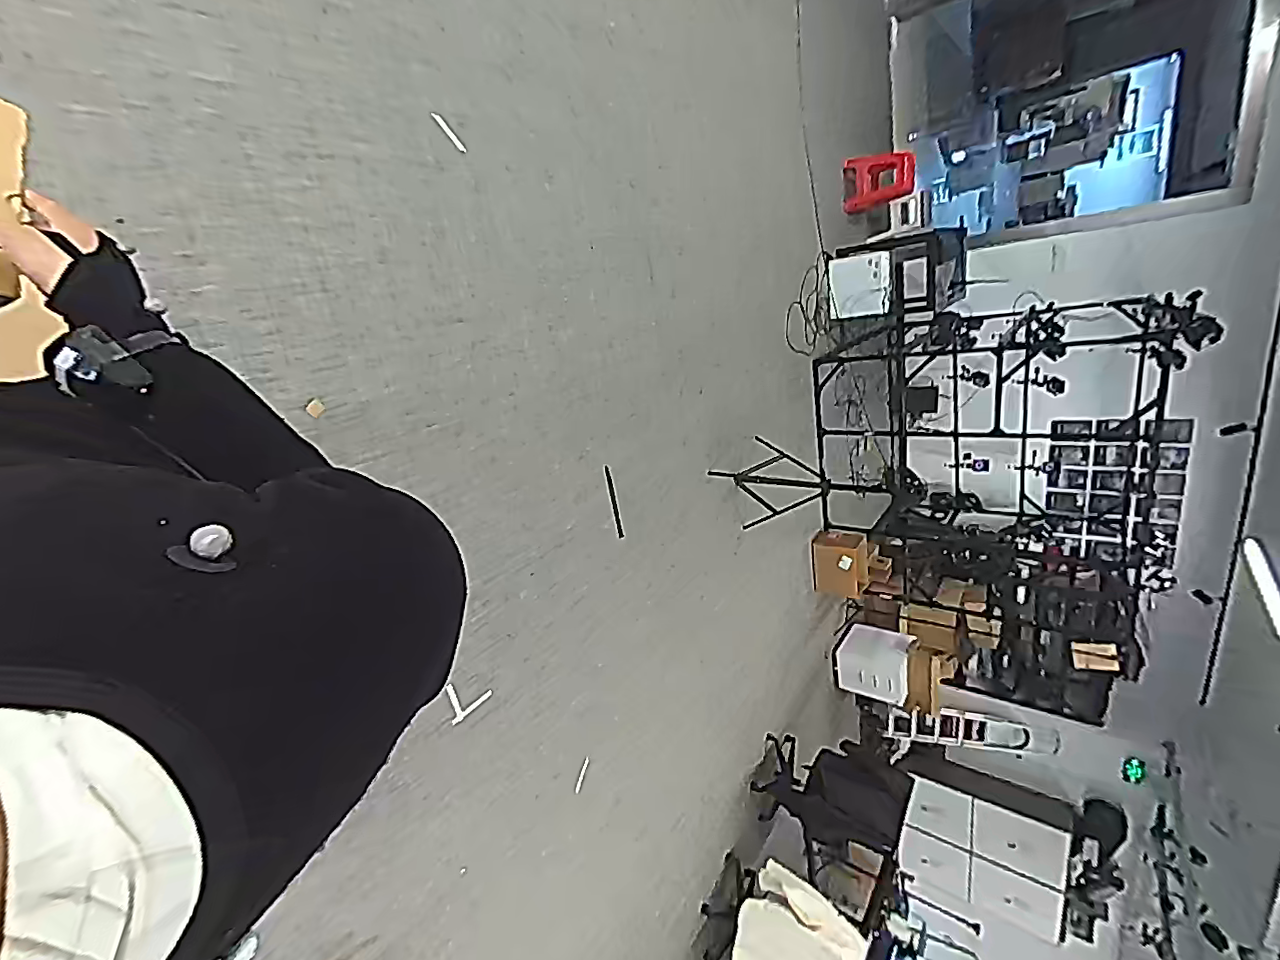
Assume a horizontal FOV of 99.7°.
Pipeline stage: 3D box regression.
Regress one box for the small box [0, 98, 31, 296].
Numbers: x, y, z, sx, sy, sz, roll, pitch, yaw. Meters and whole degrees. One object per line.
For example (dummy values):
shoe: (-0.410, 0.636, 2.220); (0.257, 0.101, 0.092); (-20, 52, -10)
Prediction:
small box: (-0.638, -0.240, 0.426); (0.179, 0.176, 0.168); (2, 90, -62)
